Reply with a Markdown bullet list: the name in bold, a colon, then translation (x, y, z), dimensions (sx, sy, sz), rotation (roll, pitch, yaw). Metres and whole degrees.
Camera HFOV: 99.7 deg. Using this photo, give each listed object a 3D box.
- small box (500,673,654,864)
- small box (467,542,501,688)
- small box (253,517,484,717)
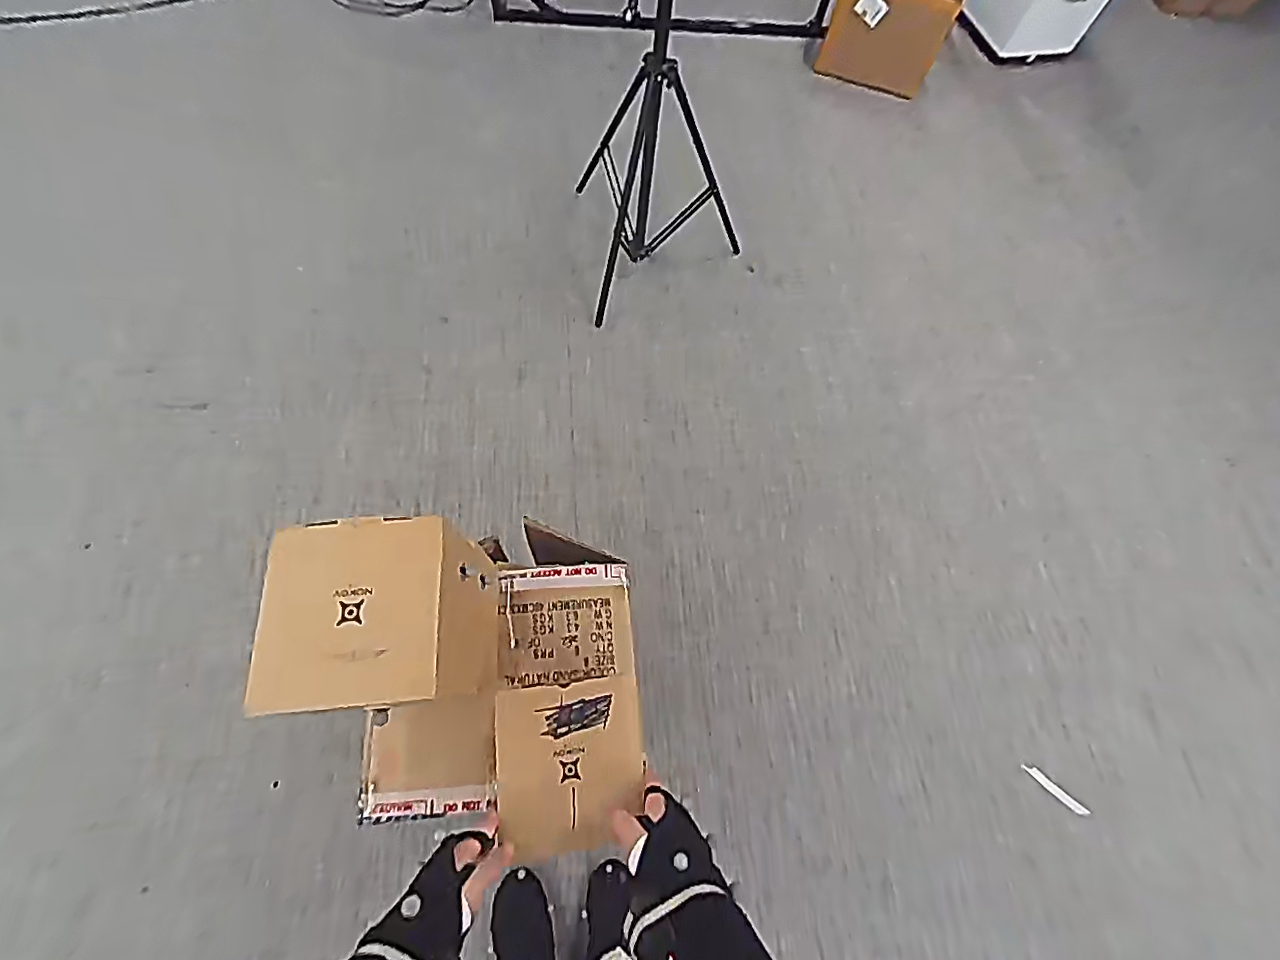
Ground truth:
- **small box**: translation (-0.085, 0.355, 0.681), dimensions (0.168, 0.176, 0.179), rotation (-4, 64, -9)
- **small box**: translation (-0.289, 0.195, 0.740), dimensions (0.168, 0.176, 0.179), rotation (-4, 69, -5)
- **small box**: translation (-0.270, 0.152, 0.583), dimensions (0.168, 0.176, 0.179), rotation (-4, 69, -5)
